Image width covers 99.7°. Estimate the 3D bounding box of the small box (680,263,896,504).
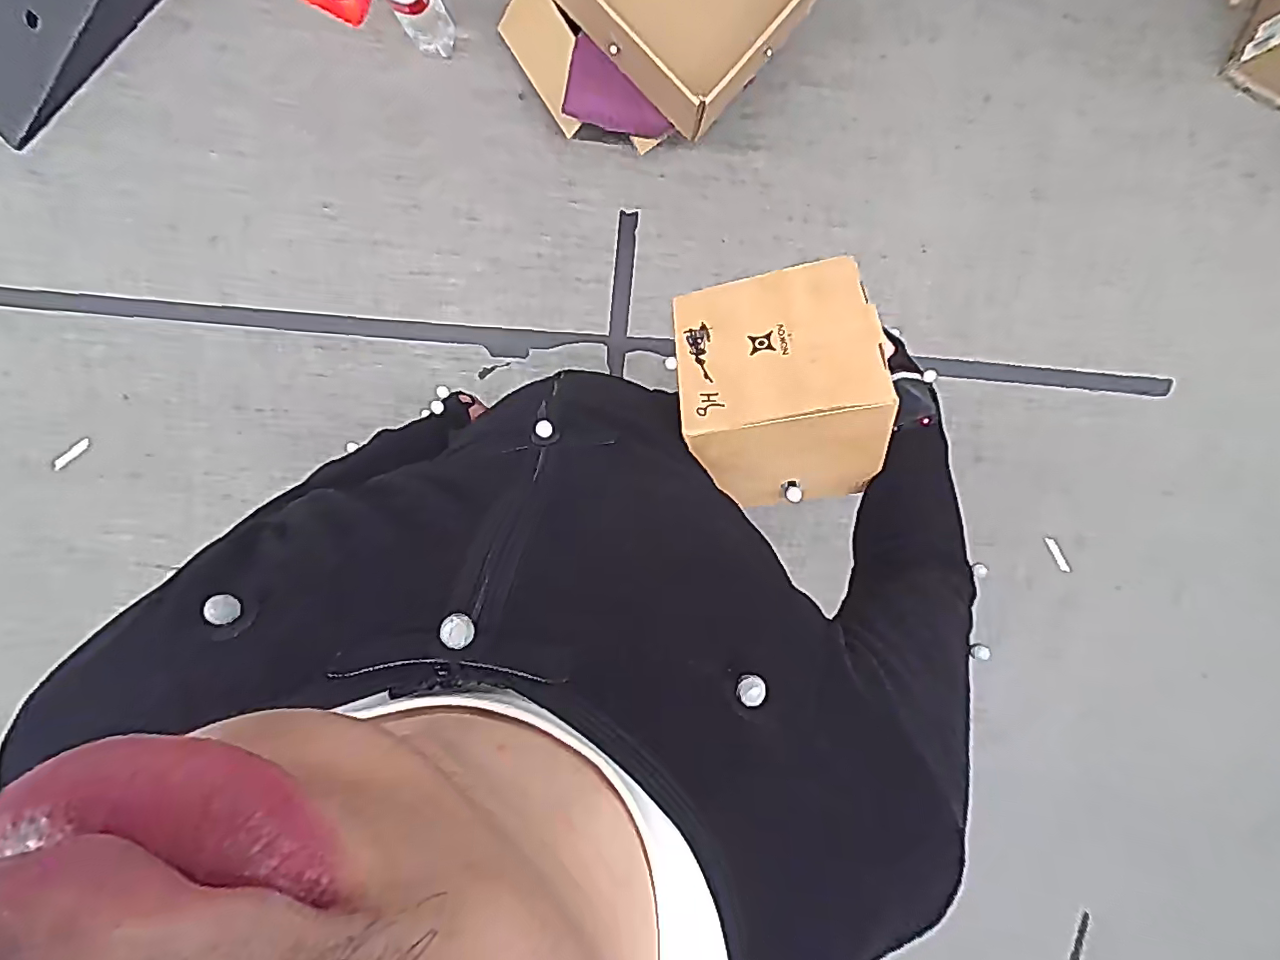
[{"bbox_3d":[0.146,-0.089,0.565,0.179,0.176,0.168,-9,61,13],"label":"small box"}]
